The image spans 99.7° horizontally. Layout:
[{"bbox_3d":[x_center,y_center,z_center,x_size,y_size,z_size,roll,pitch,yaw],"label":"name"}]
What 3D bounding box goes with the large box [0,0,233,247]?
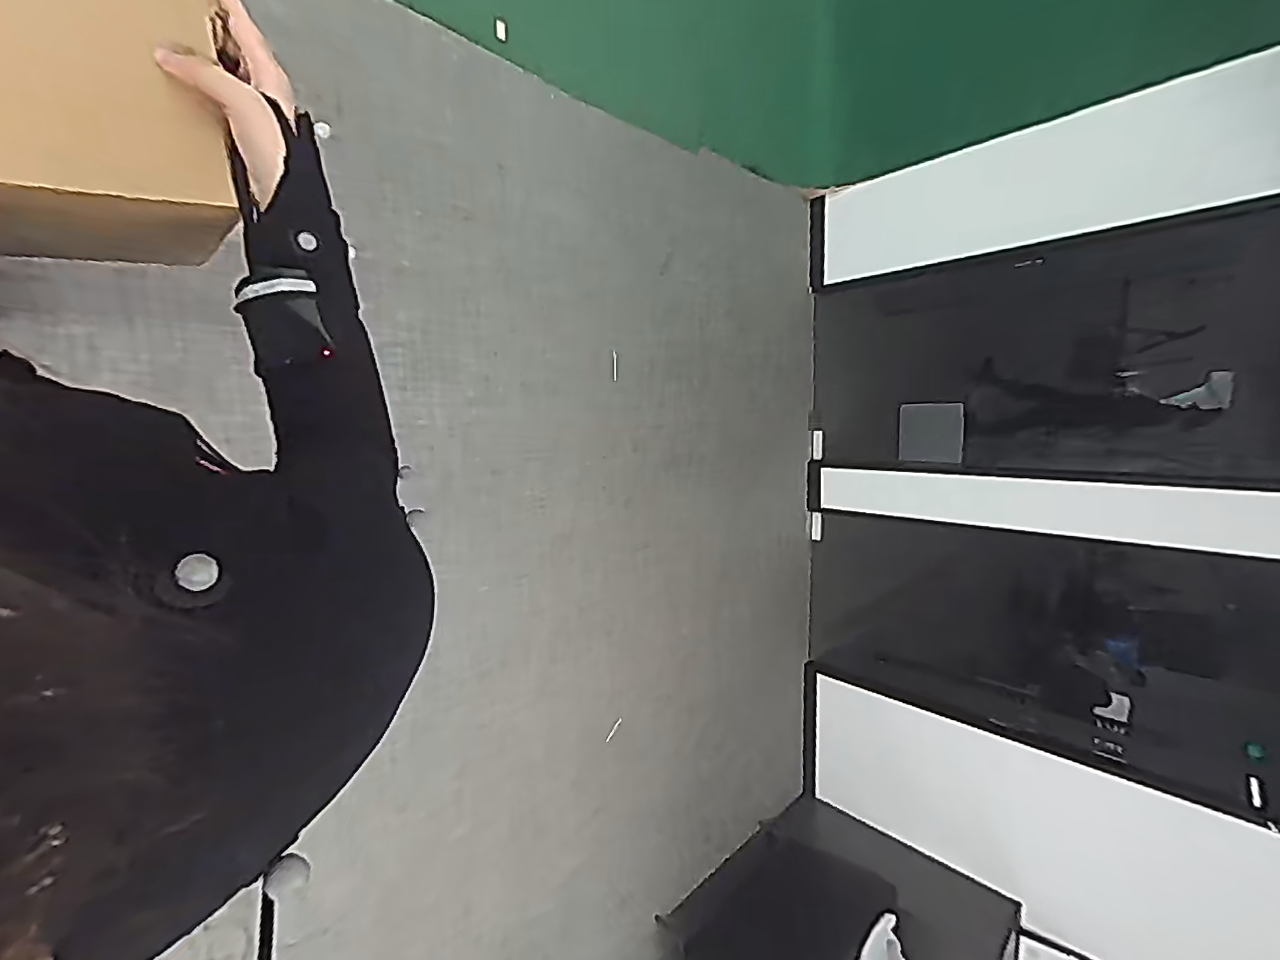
[{"bbox_3d":[-0.560,-0.344,0.353,0.408,0.320,0.320,-15,109,-40],"label":"large box"}]
